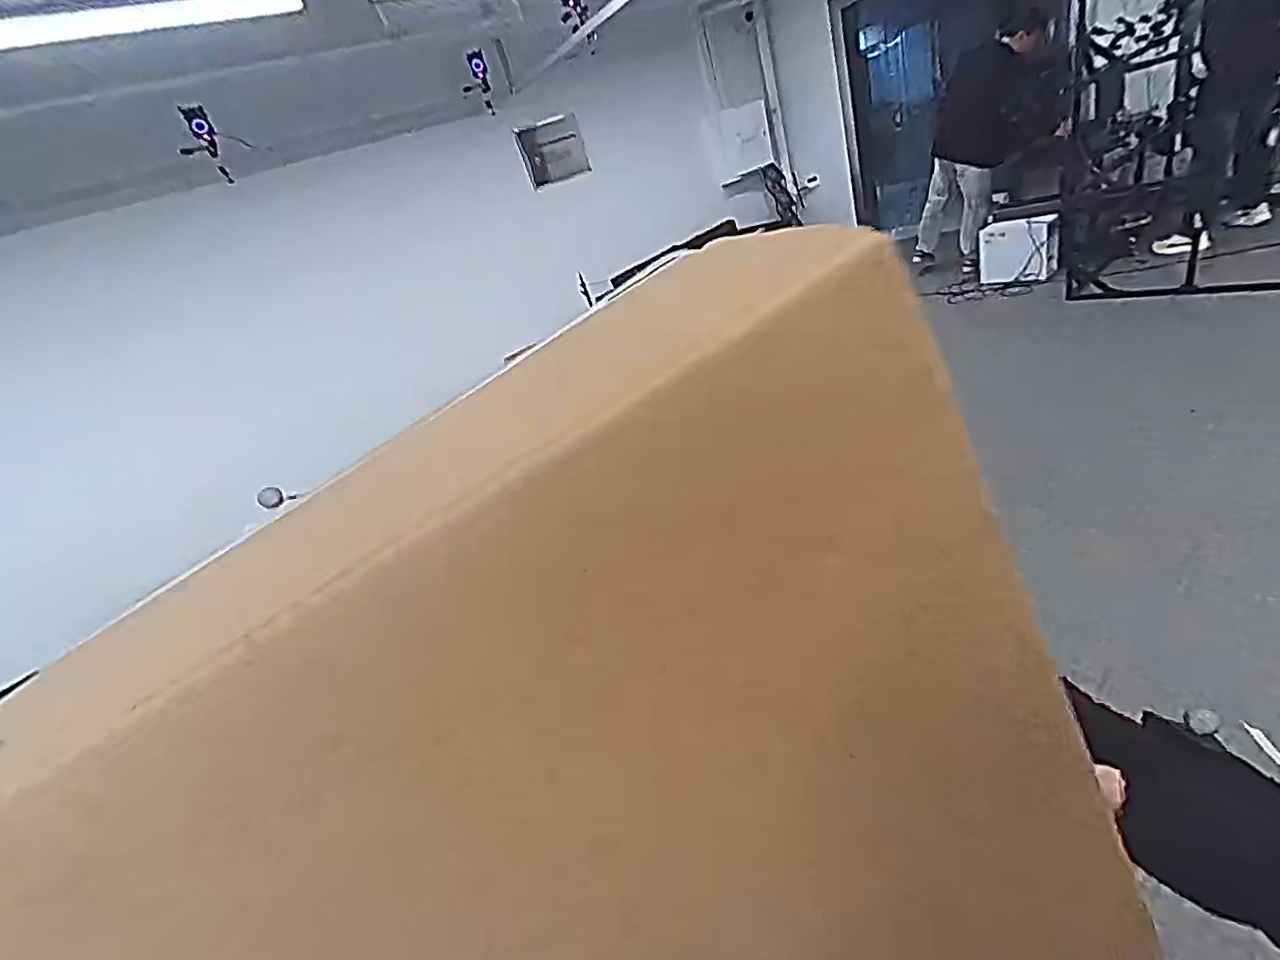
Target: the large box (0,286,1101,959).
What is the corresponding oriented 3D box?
[{"bbox_3d":[-0.044,0.129,0.338,0.408,0.320,0.320,-31,23,3],"label":"large box"}]
